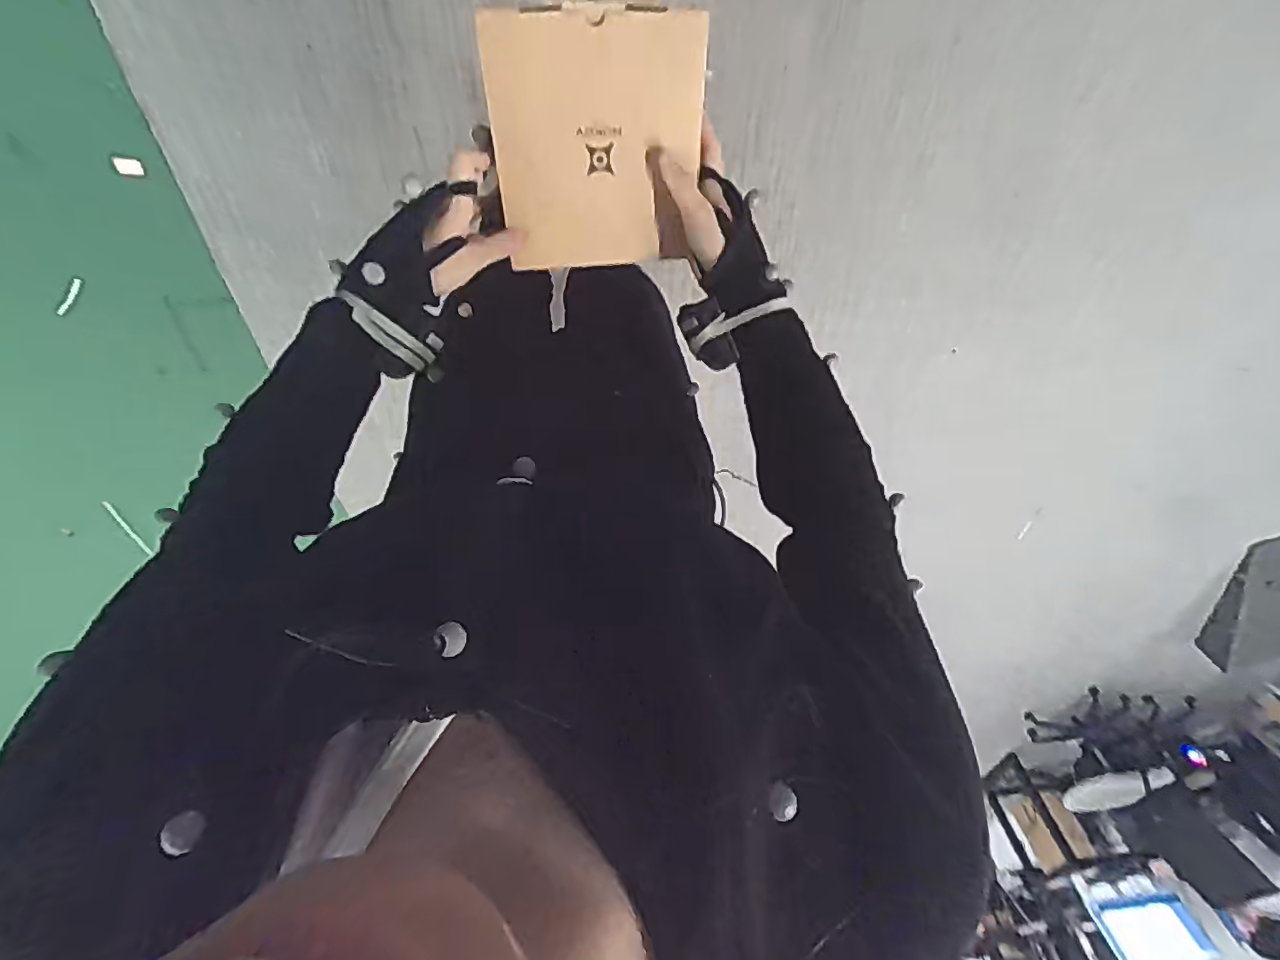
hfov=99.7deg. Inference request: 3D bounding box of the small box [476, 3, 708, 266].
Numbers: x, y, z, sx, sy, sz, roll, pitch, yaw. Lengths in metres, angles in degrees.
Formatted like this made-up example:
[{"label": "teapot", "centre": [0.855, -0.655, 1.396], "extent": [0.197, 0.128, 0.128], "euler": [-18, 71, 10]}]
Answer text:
[{"label": "small box", "centre": [-0.043, -0.315, 0.491], "extent": [0.168, 0.176, 0.179], "euler": [-6, 132, -6]}]
